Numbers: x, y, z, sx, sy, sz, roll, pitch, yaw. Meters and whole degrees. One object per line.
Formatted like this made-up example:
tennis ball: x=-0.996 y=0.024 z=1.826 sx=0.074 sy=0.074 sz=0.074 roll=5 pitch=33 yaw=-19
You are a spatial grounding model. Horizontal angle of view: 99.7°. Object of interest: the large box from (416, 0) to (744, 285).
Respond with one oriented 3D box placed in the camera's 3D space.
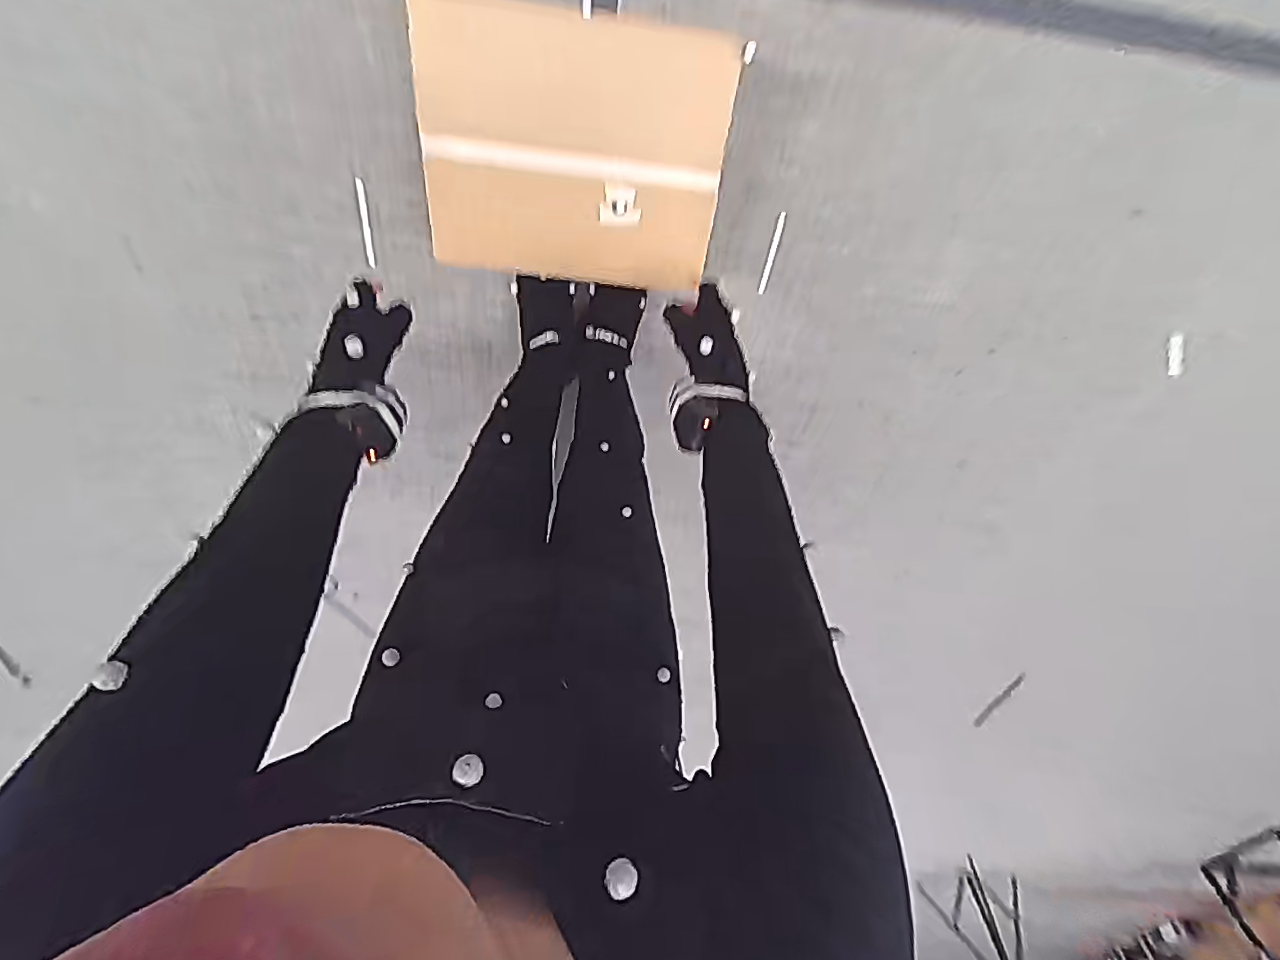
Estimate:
large box: x=-0.091 y=-0.527 z=0.858 sx=0.408 sy=0.320 sz=0.320 roll=4 pitch=128 yaw=-6
